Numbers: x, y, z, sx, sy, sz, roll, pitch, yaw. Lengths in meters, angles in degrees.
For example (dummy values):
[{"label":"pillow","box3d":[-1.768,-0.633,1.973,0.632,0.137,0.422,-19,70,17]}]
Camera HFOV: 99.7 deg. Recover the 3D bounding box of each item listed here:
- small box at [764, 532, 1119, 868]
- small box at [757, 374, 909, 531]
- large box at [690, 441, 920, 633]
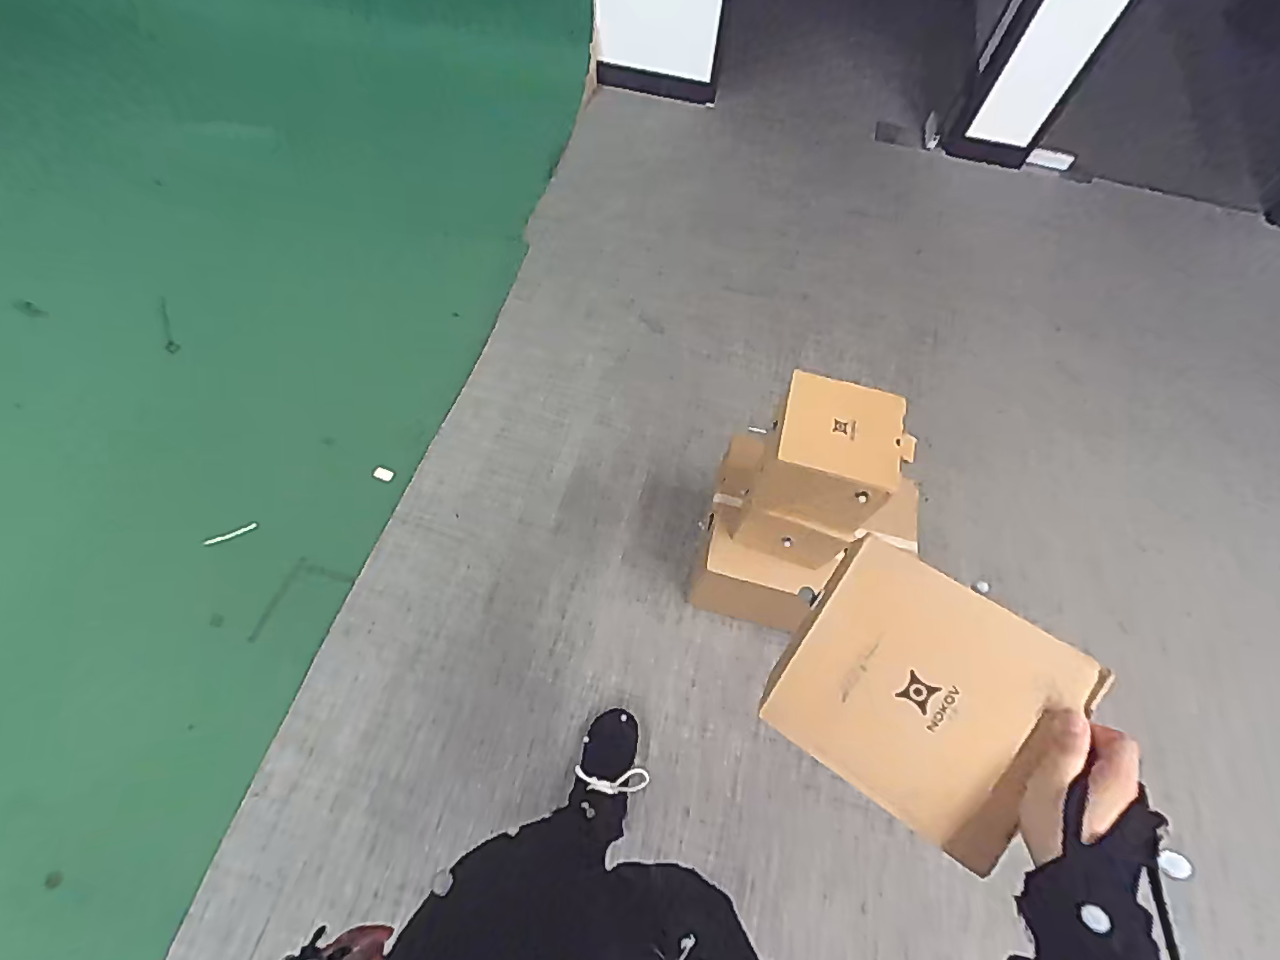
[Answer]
[{"label":"small box","box3d":[0.228,0.160,0.458,0.179,0.176,0.168,31,90,20]},{"label":"small box","box3d":[0.296,-0.036,0.854,0.179,0.176,0.168,15,64,4]},{"label":"large box","box3d":[0.351,0.155,1.219,0.408,0.320,0.320,14,66,3]}]
